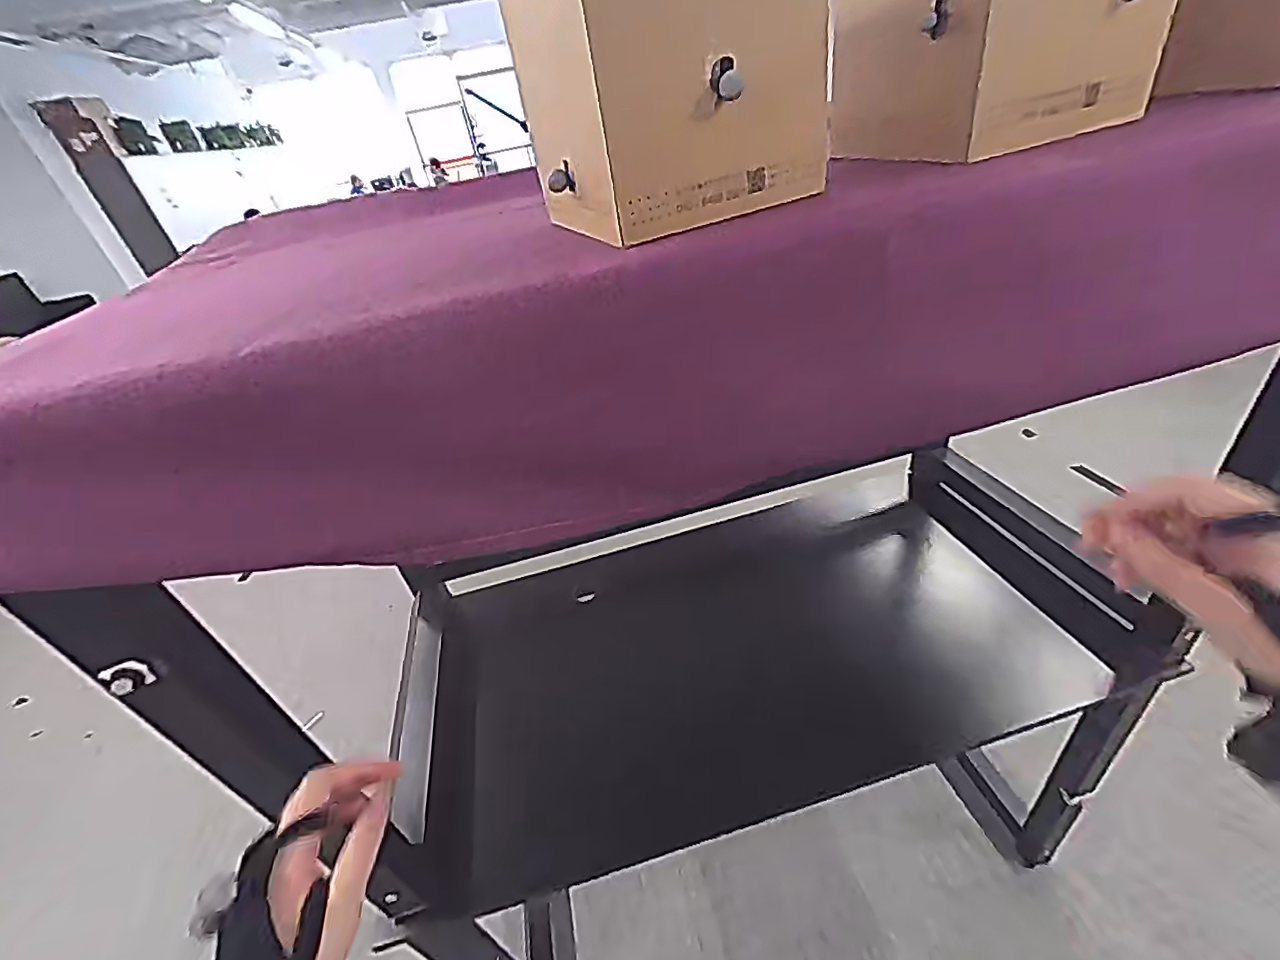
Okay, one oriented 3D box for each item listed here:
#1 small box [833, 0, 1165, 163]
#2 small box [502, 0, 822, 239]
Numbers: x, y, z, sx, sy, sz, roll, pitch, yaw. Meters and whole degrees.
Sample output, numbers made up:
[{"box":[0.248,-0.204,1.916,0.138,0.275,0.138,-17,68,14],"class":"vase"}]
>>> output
[{"box":[0.273,-0.362,0.429,0.168,0.176,0.179,-17,34,-9],"class":"small box"},{"box":[0.017,-0.286,0.392,0.168,0.176,0.179,-22,36,-14],"class":"small box"}]
